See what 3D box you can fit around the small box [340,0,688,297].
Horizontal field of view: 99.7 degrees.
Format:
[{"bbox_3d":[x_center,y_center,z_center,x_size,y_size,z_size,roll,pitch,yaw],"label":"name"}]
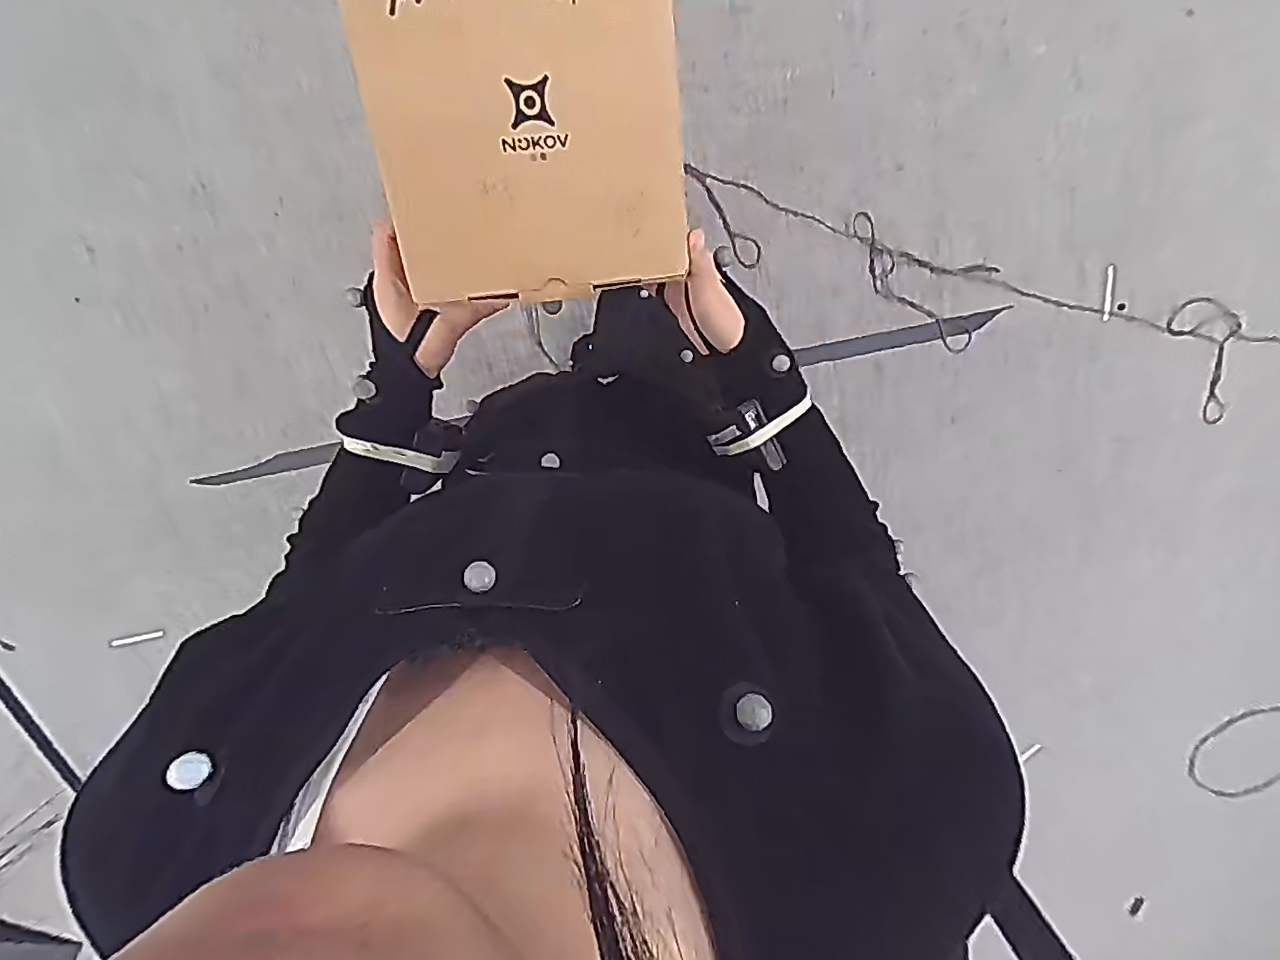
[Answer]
[{"bbox_3d":[-0.073,-0.224,0.355,0.168,0.176,0.179,-10,112,-9],"label":"small box"}]
